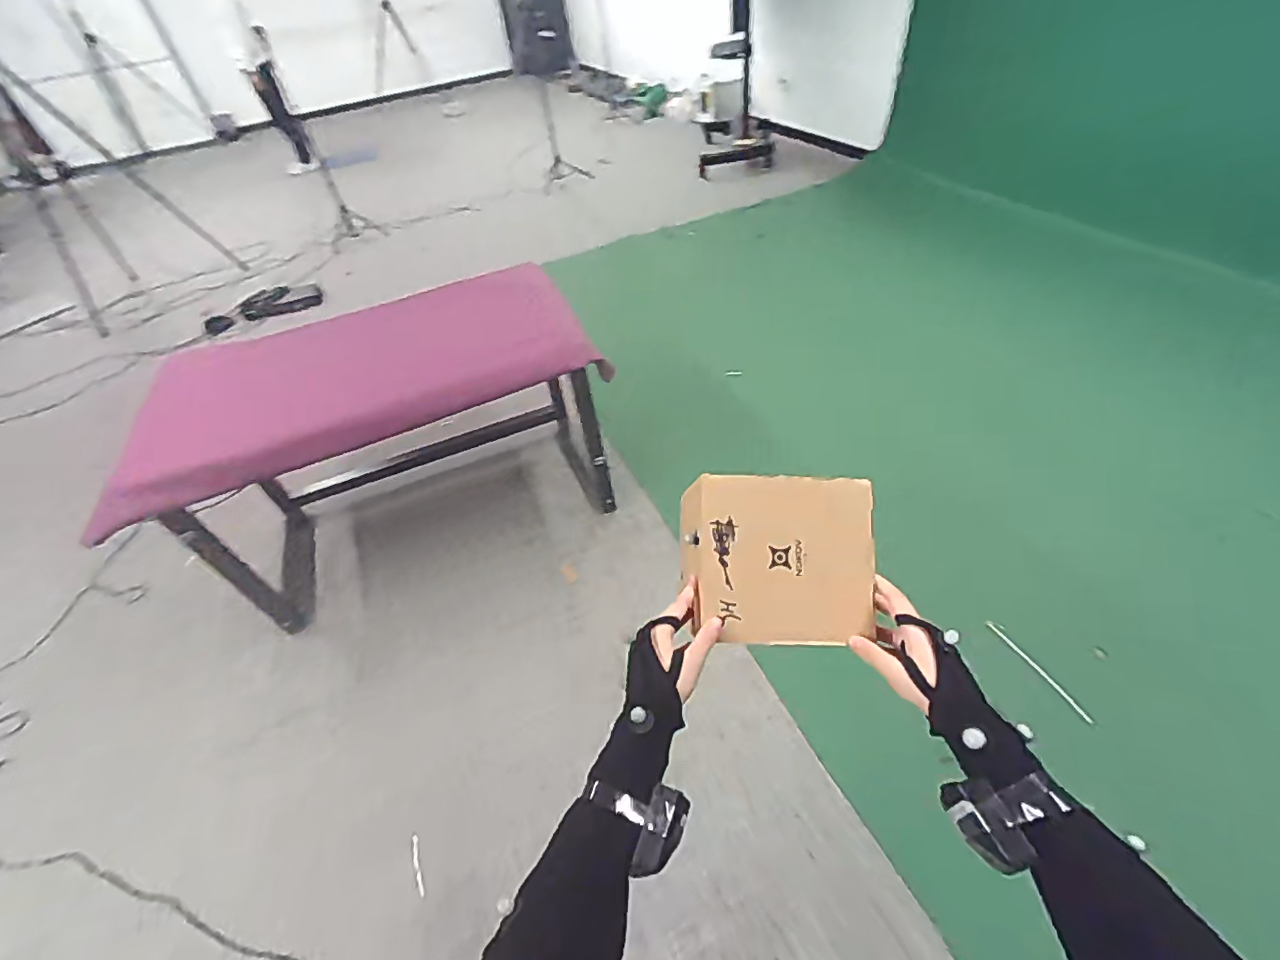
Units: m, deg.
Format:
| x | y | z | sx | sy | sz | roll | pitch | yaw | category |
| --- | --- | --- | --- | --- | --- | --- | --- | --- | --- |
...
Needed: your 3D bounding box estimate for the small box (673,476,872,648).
| x | y | z | sx | sy | sz | roll | pitch | yaw | category |
| --- | --- | --- | --- | --- | --- | --- | --- | --- | --- |
| 0.135 | 0.093 | 0.609 | 0.179 | 0.176 | 0.168 | 1 | 79 | -3 | small box |
